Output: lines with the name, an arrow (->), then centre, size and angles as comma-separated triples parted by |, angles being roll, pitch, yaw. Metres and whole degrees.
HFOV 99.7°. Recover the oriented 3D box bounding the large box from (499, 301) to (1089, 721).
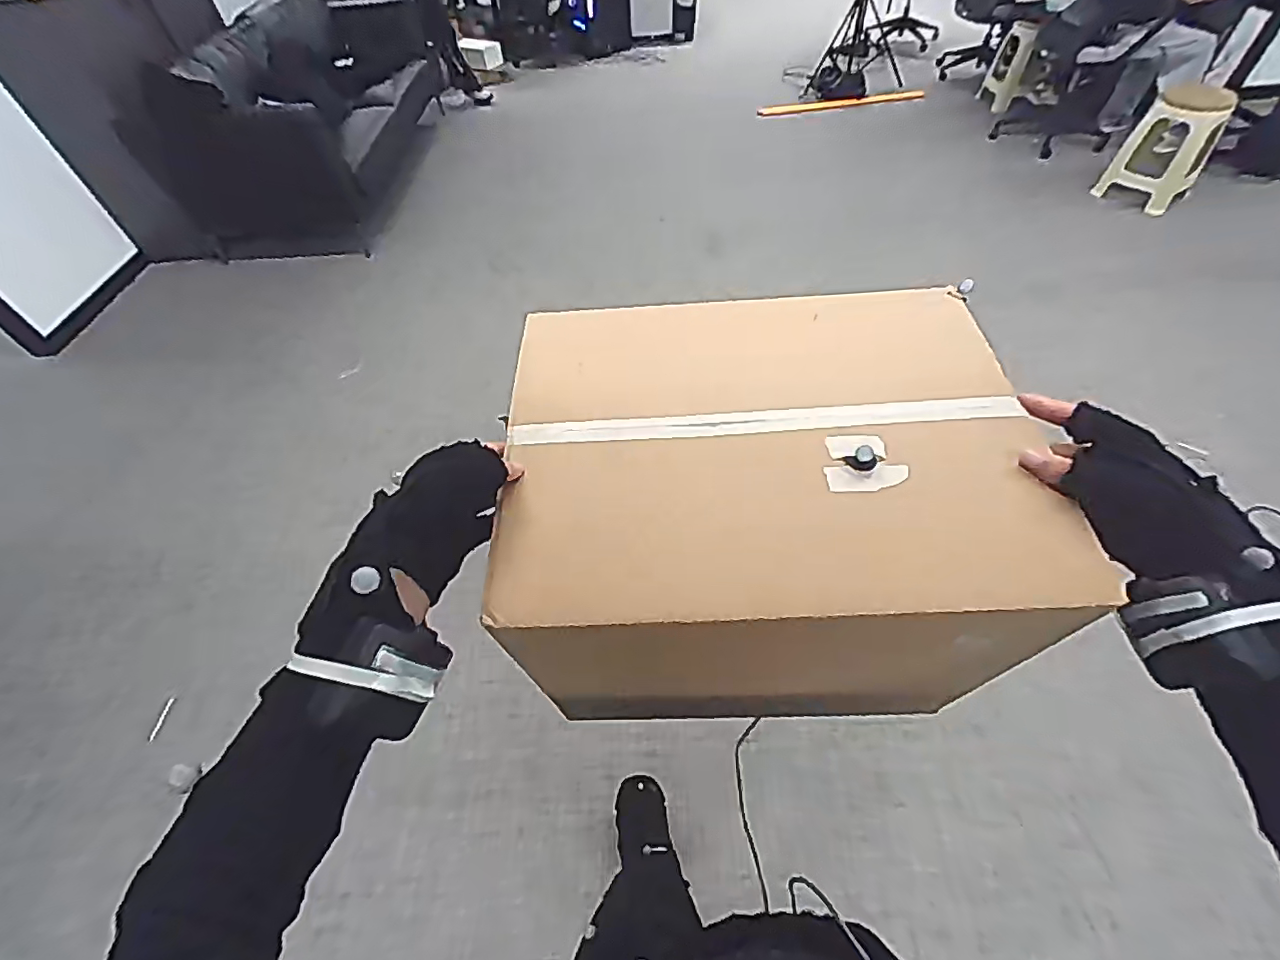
large box -> 0.104, 0.050, 0.566 | 0.408, 0.320, 0.320 | -3, 56, 3
